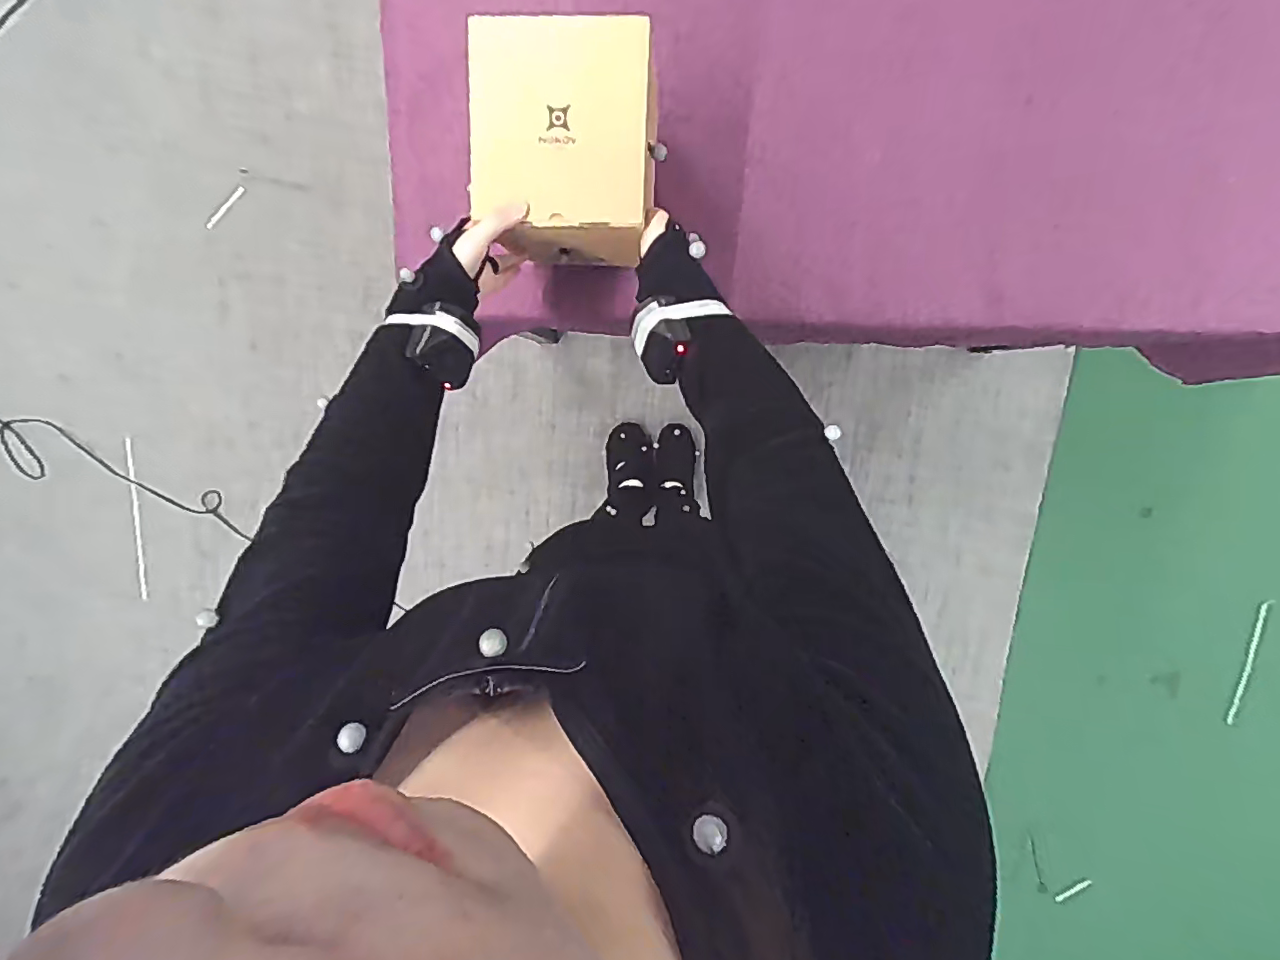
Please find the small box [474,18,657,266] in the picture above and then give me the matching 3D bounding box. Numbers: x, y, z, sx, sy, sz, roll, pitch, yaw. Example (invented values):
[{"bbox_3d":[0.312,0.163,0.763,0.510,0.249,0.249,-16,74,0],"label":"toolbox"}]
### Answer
[{"bbox_3d":[-0.068,-0.340,0.576,0.168,0.176,0.179,2,101,3],"label":"small box"}]
